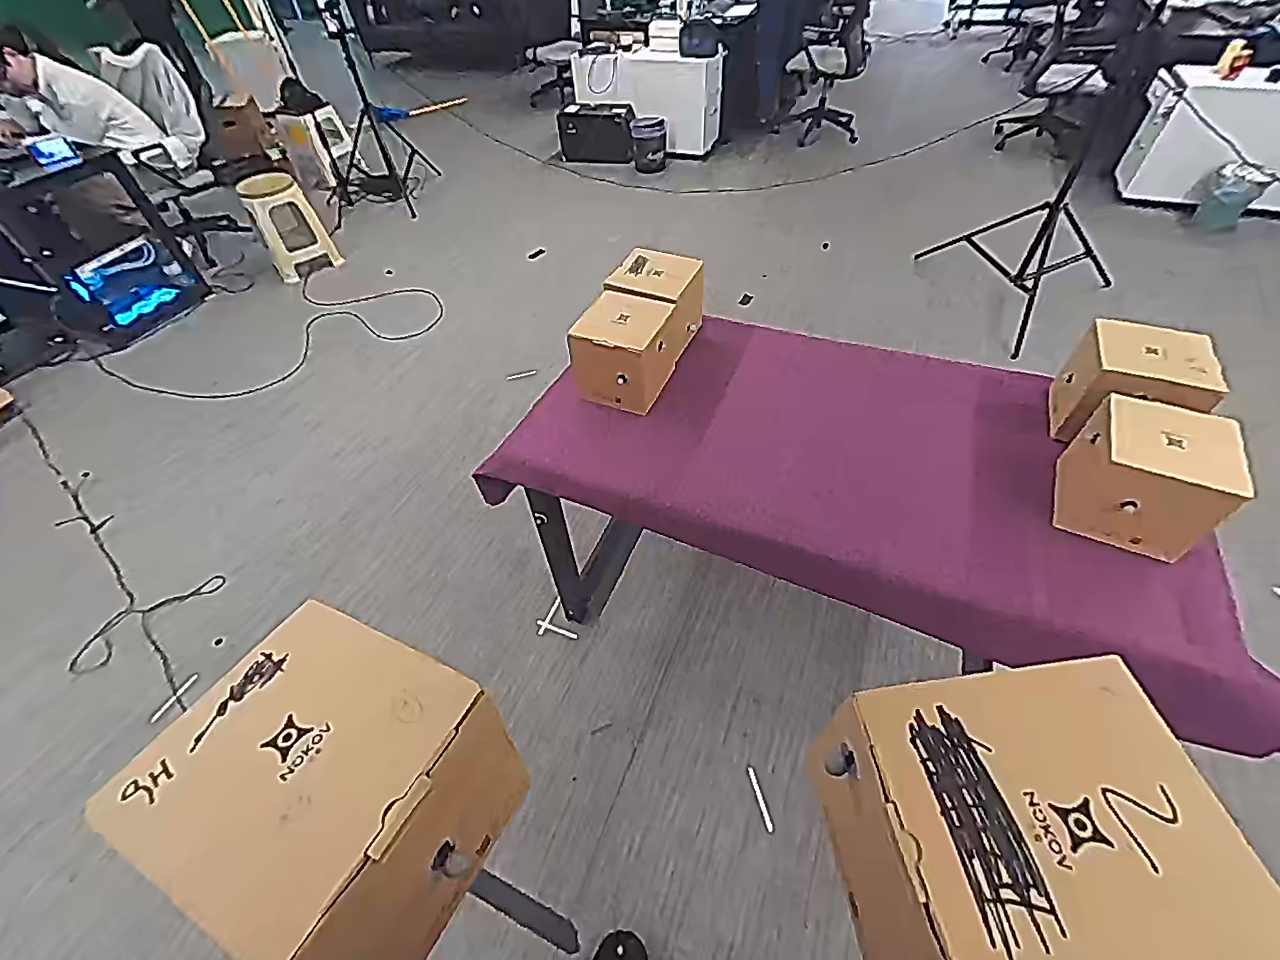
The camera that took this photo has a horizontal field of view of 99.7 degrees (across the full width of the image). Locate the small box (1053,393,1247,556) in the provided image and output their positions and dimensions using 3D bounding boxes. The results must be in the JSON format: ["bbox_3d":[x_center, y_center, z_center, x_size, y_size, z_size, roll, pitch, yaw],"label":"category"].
[{"bbox_3d":[0.798,-0.007,0.868,0.168,0.176,0.179,20,52,21],"label":"small box"}]

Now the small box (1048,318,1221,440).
[{"bbox_3d":[0.887,-0.168,0.995,0.179,0.176,0.168,18,53,17],"label":"small box"}]

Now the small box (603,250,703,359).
[{"bbox_3d":[0.034,-0.404,1.256,0.179,0.176,0.168,19,55,17],"label":"small box"}]

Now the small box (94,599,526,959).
[{"bbox_3d":[-0.206,0.224,0.393,0.179,0.176,0.168,18,47,20],"label":"small box"}]
